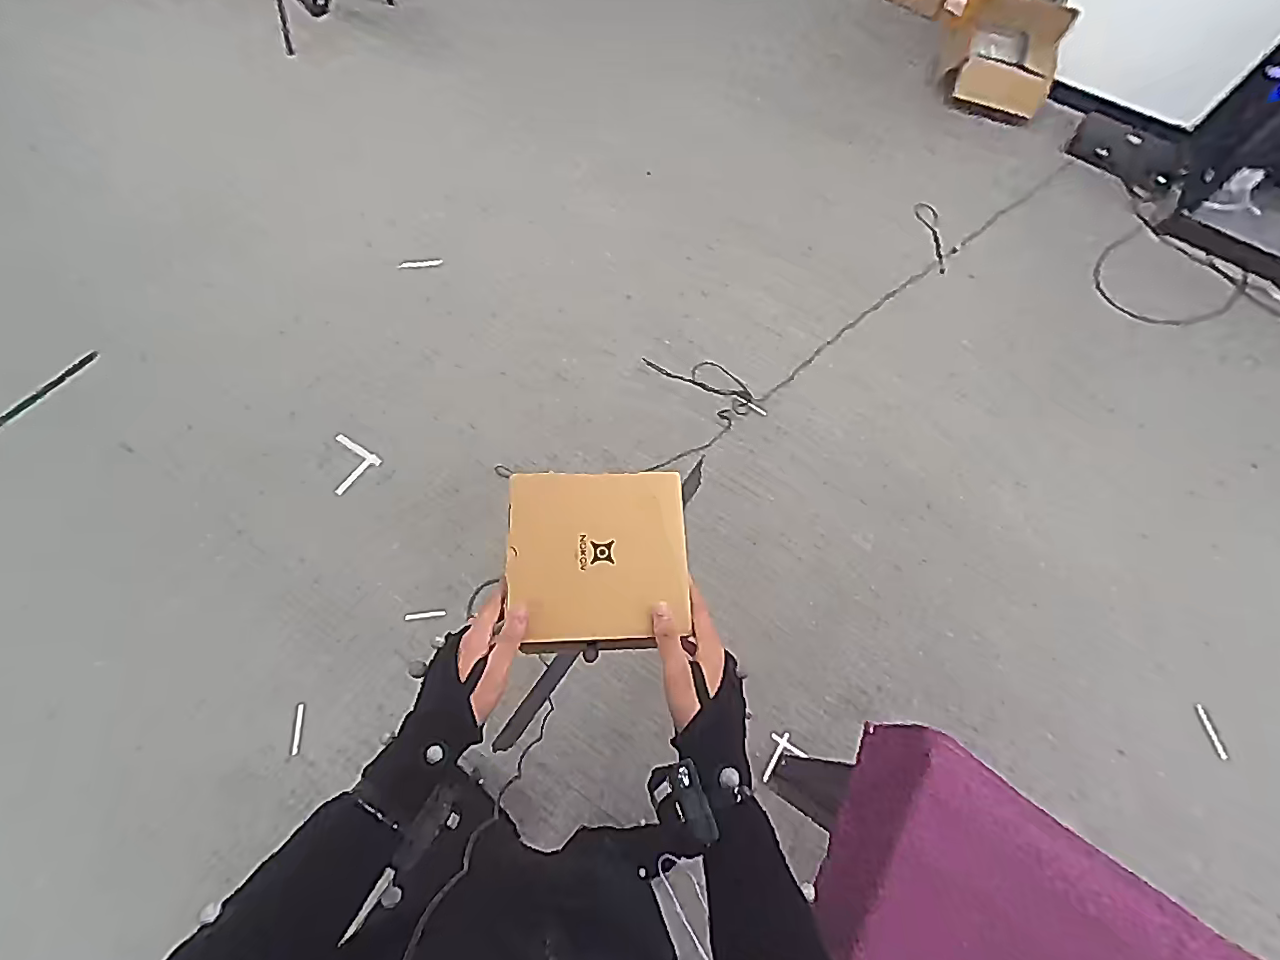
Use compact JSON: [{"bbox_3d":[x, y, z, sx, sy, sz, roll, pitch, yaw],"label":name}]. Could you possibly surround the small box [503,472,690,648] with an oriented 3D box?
[{"bbox_3d":[-0.048,0.096,0.600,0.179,0.176,0.168,-2,70,-5],"label":"small box"}]
